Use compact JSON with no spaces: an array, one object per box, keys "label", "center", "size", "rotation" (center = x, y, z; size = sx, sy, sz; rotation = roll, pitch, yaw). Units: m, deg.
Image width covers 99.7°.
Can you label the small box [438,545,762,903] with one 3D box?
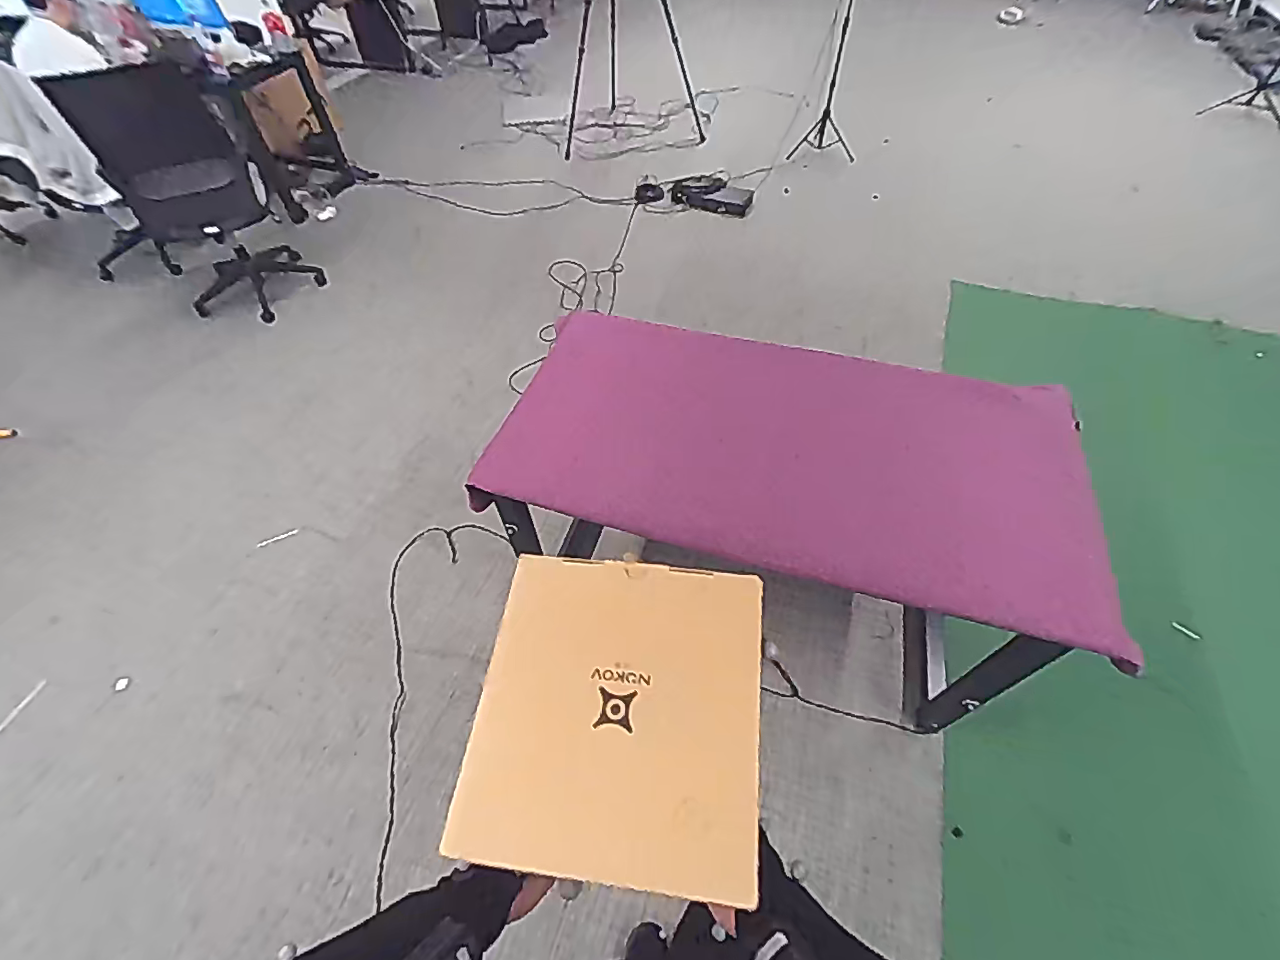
[{"label":"small box","center":[-0.008,0.165,0.377],"size":[0.168,0.176,0.179],"rotation":[4,56,7]}]
